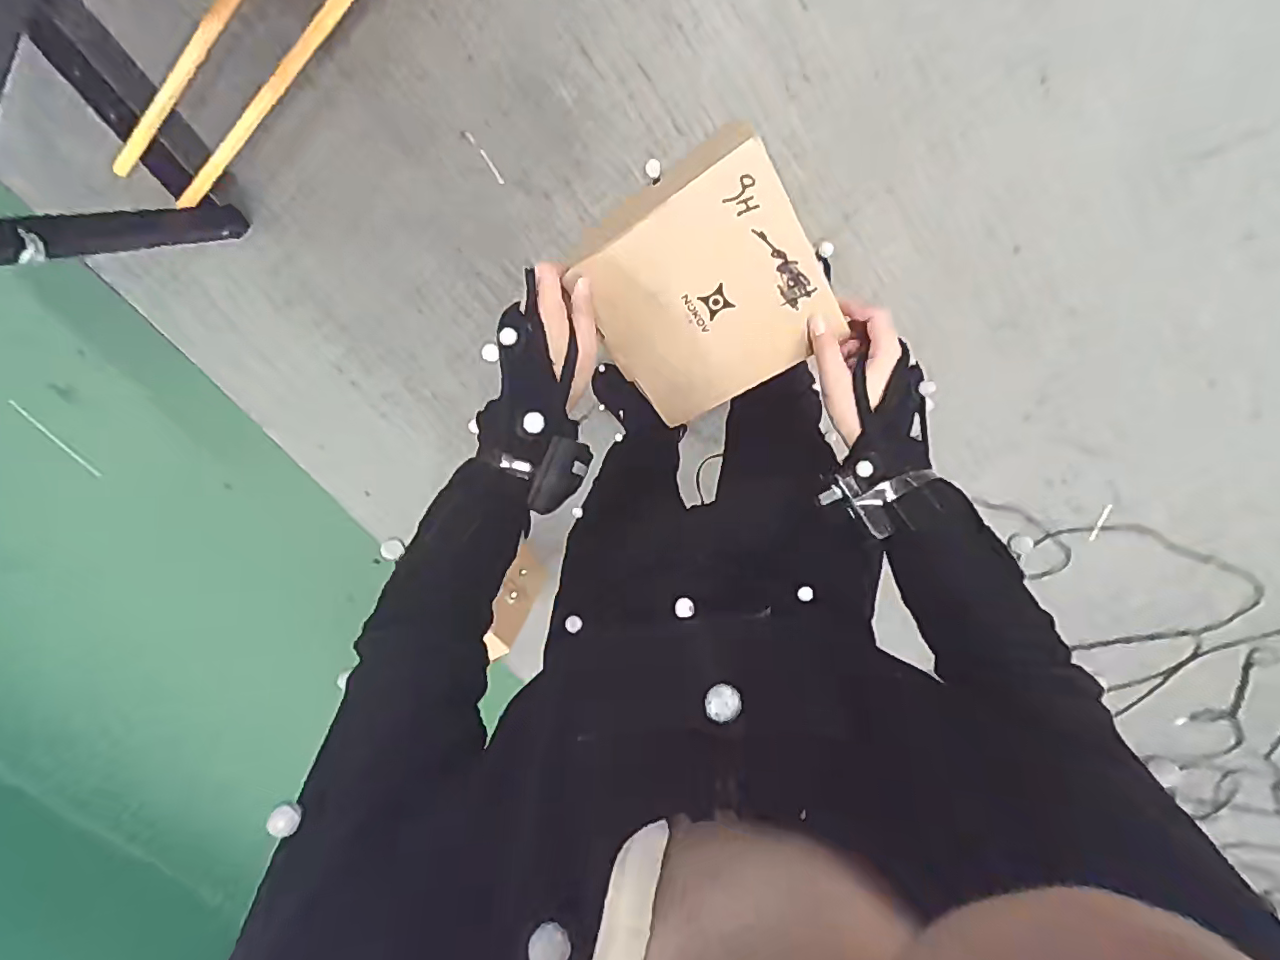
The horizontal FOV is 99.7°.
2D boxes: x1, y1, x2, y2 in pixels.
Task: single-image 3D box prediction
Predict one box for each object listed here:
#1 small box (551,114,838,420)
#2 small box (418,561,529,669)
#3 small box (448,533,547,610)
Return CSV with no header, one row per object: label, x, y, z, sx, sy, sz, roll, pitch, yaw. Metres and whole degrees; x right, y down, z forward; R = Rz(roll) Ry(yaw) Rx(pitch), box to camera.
small box,0.052,-0.191,0.488,0.179,0.176,0.168,-26,121,25
small box,-0.410,0.338,1.365,0.179,0.176,0.168,-30,110,24
small box,-0.392,0.270,1.512,0.168,0.176,0.179,-27,112,24
